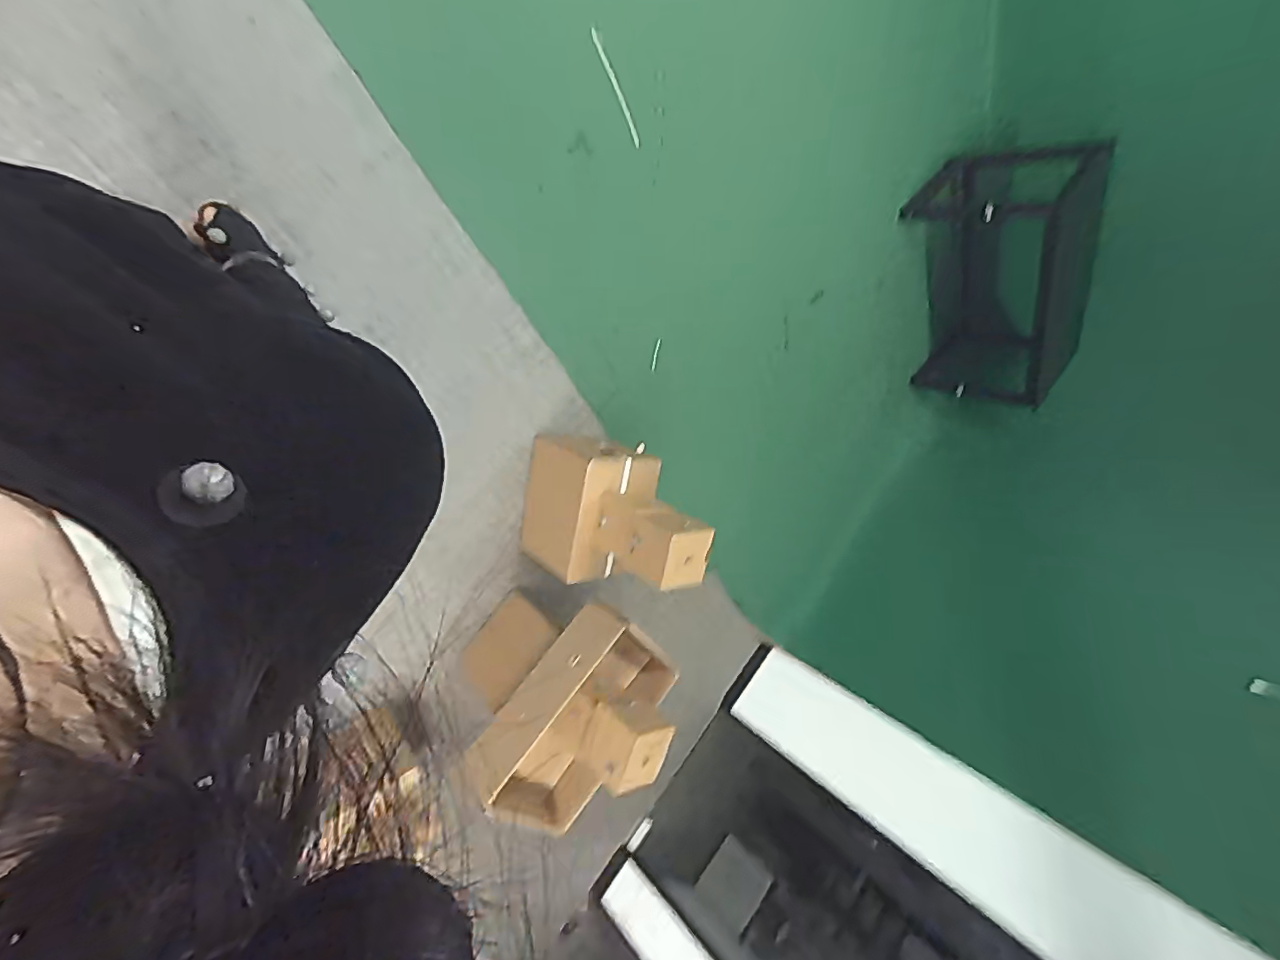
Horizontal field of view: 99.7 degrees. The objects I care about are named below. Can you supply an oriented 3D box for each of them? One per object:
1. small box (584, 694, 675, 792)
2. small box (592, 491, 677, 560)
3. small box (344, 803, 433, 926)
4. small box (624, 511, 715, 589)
[{"bbox_3d":[-0.036,0.741,1.544,0.168,0.176,0.179,14,97,-46],"label":"small box"},{"bbox_3d":[-0.019,0.137,1.675,0.179,0.176,0.168,3,106,-44],"label":"small box"},{"bbox_3d":[-0.679,1.030,1.463,0.168,0.176,0.179,-19,121,-36],"label":"small box"},{"bbox_3d":[0.082,0.193,1.559,0.179,0.176,0.168,0,108,-43],"label":"small box"}]
